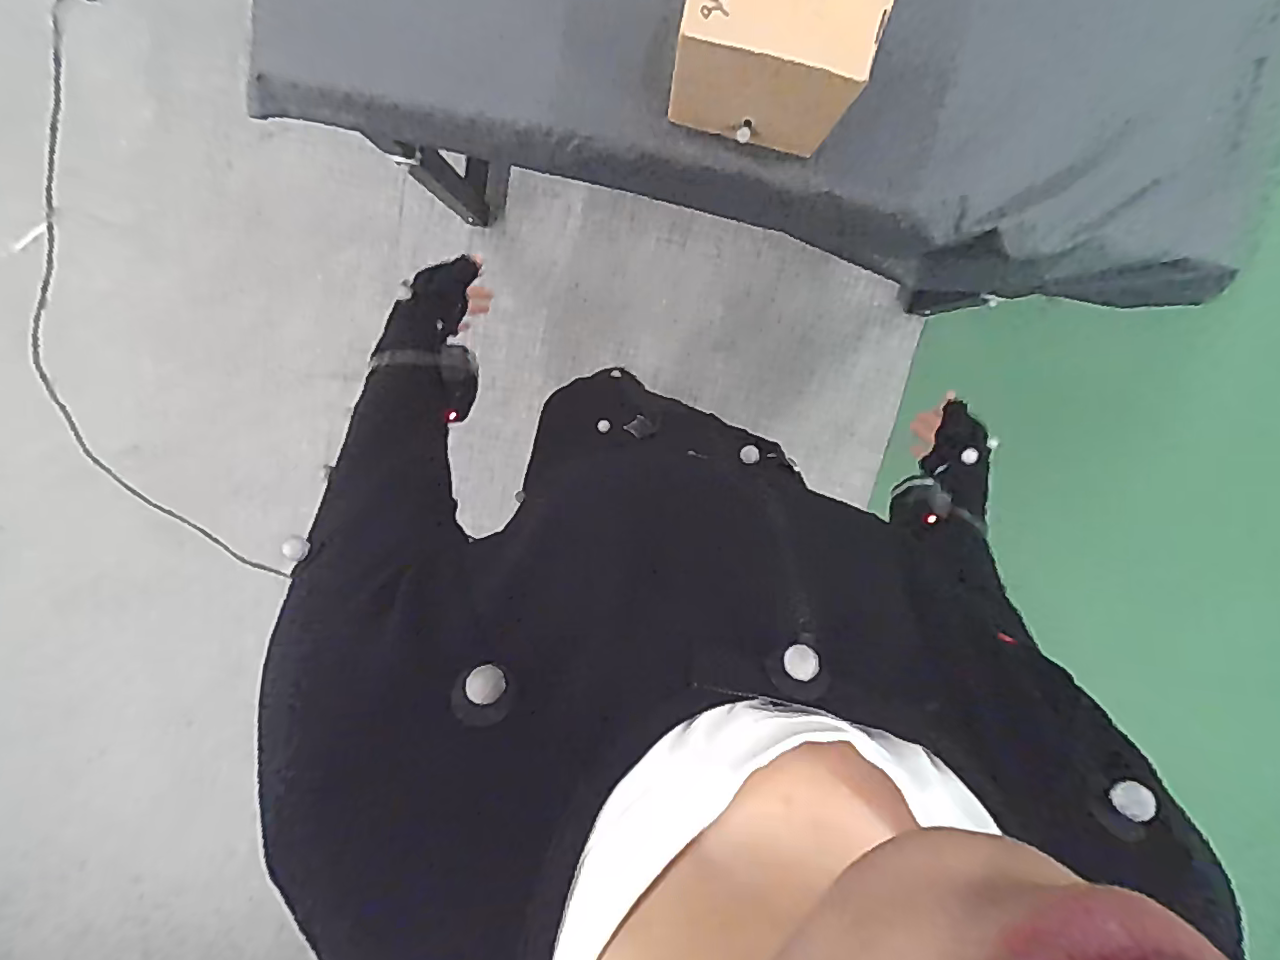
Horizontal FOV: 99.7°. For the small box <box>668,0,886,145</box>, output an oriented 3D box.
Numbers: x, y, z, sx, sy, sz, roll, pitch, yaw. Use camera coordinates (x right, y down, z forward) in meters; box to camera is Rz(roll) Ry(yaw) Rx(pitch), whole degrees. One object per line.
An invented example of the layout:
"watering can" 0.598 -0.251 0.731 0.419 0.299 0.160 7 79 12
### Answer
"small box" 0.134 -0.470 0.545 0.179 0.176 0.168 13 100 -4
